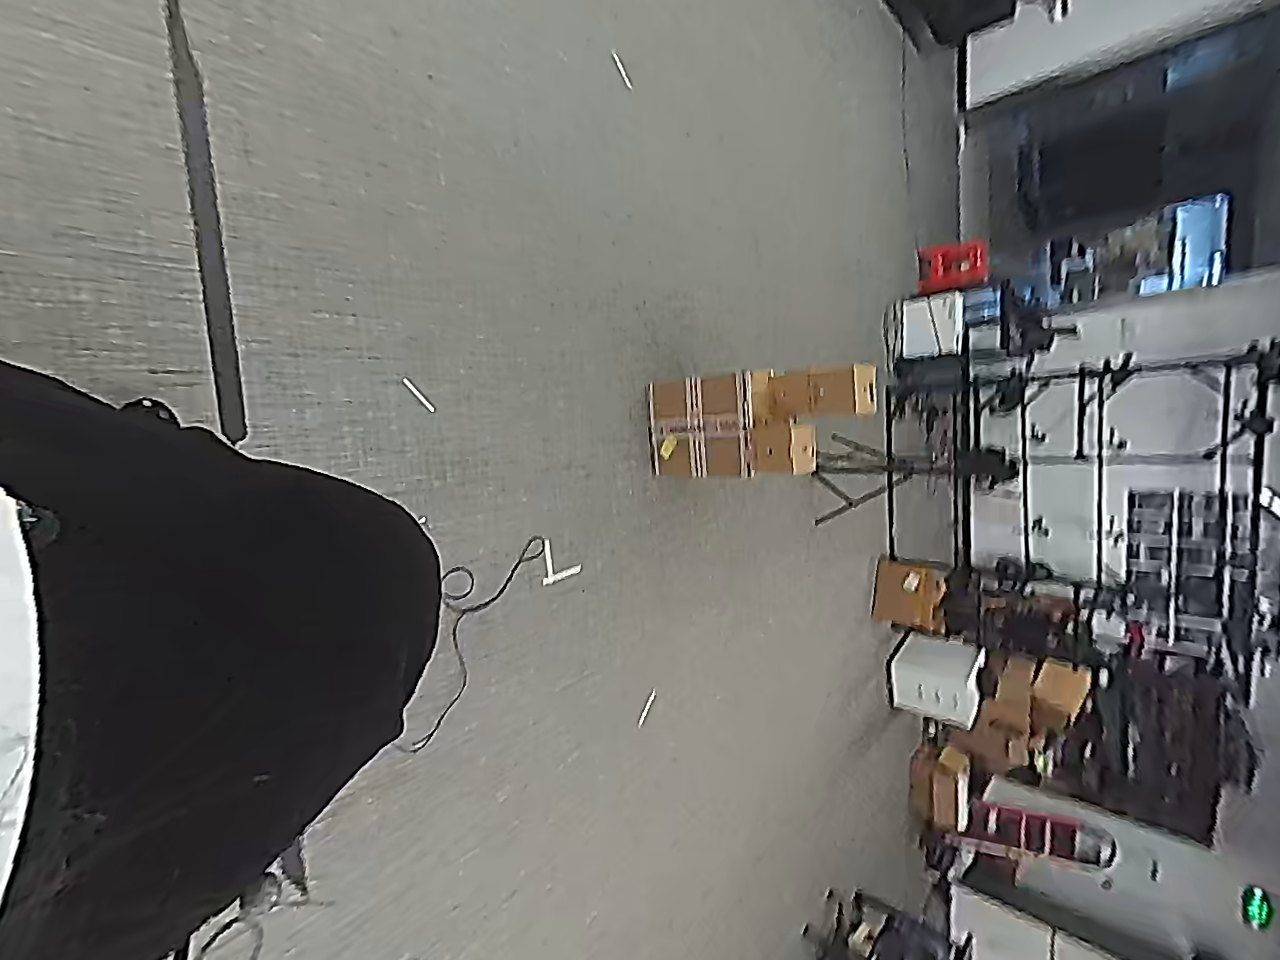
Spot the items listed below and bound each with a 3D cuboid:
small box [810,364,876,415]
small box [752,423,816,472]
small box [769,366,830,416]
[{"bbox_3d":[0.726,-0.321,1.935,0.179,0.176,0.168,-10,97,-43],"label":"small box"},{"bbox_3d":[0.522,-0.120,1.970,0.179,0.176,0.168,-10,100,-44],"label":"small box"},{"bbox_3d":[0.612,-0.338,2.052,0.179,0.176,0.168,-15,101,-43],"label":"small box"}]
